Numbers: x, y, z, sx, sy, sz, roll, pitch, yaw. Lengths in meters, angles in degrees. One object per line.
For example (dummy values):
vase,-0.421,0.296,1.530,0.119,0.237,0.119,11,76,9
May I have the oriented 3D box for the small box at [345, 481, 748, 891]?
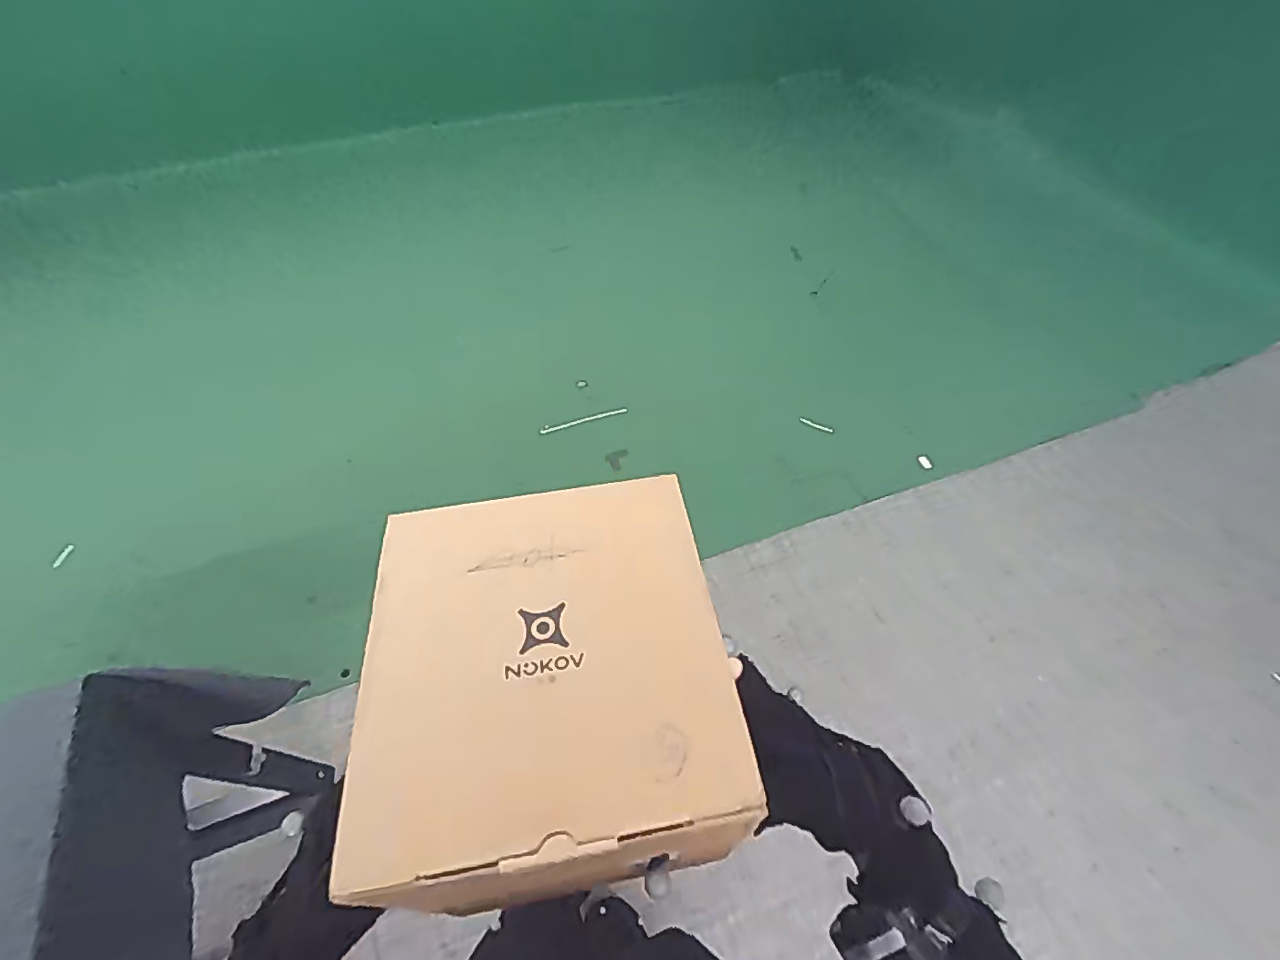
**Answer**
small box,-0.044,0.128,0.326,0.168,0.176,0.179,-8,50,-5
